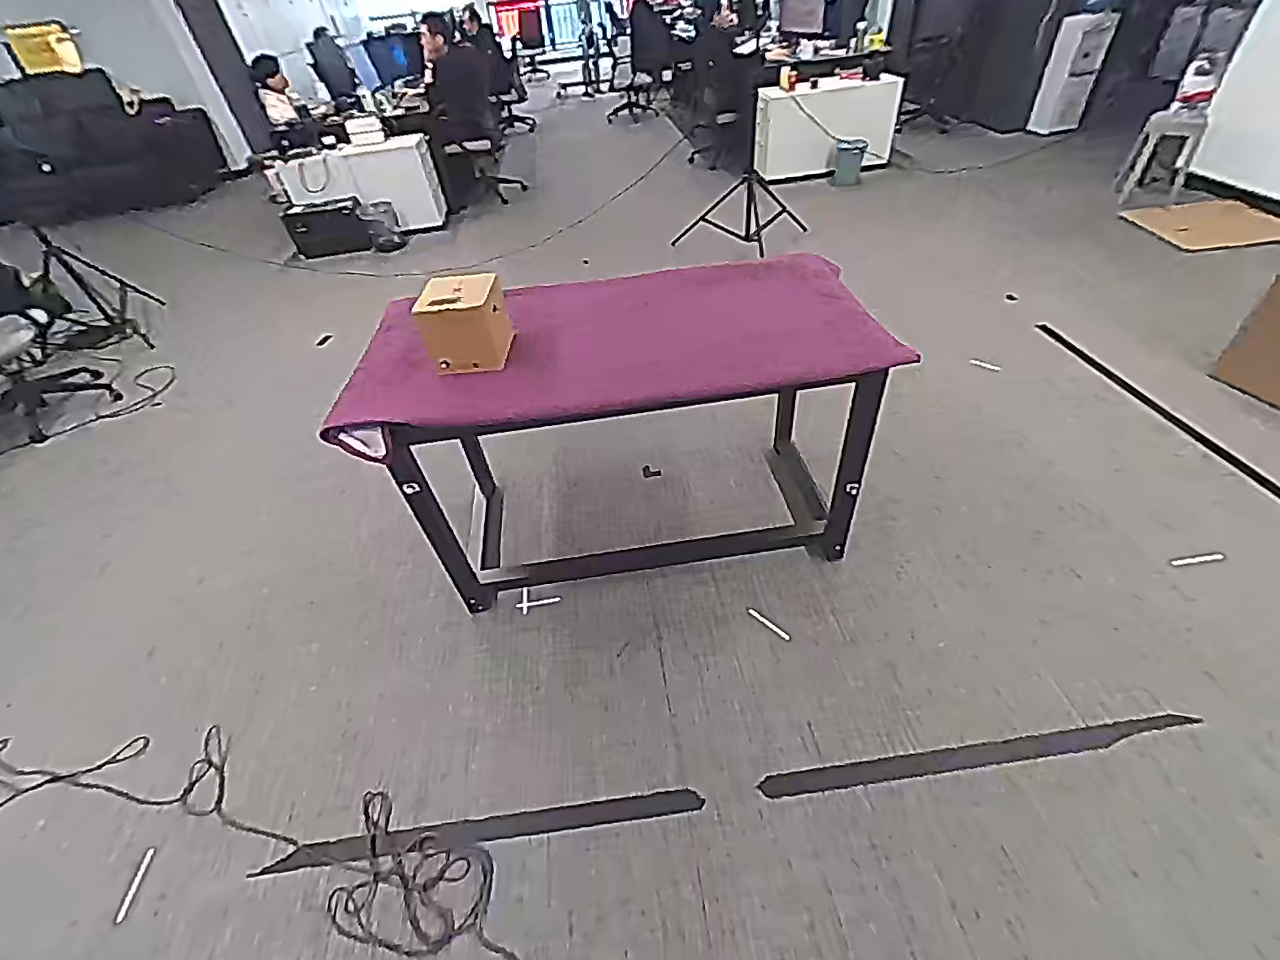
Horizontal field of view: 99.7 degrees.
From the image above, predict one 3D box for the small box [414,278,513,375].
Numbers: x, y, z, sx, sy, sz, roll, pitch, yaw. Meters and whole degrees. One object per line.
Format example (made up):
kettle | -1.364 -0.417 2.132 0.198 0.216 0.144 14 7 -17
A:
small box | -0.416 -0.366 1.311 0.168 0.176 0.179 -4 43 3
